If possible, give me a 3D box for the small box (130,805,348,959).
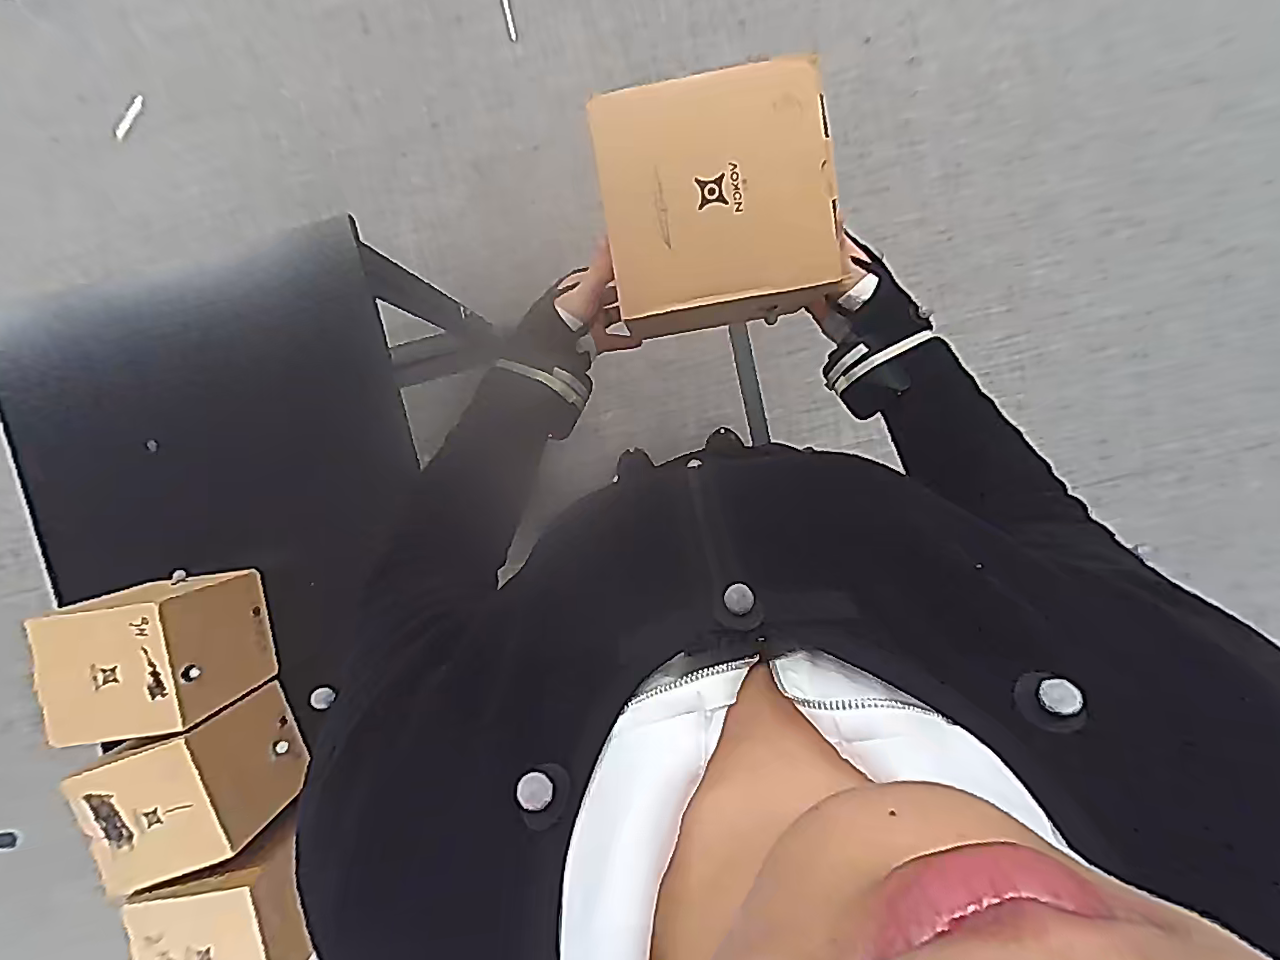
[{"bbox_3d":[-0.542,0.592,0.762,0.179,0.176,0.168,-10,92,4],"label":"small box"}]

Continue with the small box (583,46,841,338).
[{"bbox_3d":[0.060,-0.232,0.486,0.179,0.176,0.168,-10,97,6],"label":"small box"}]
